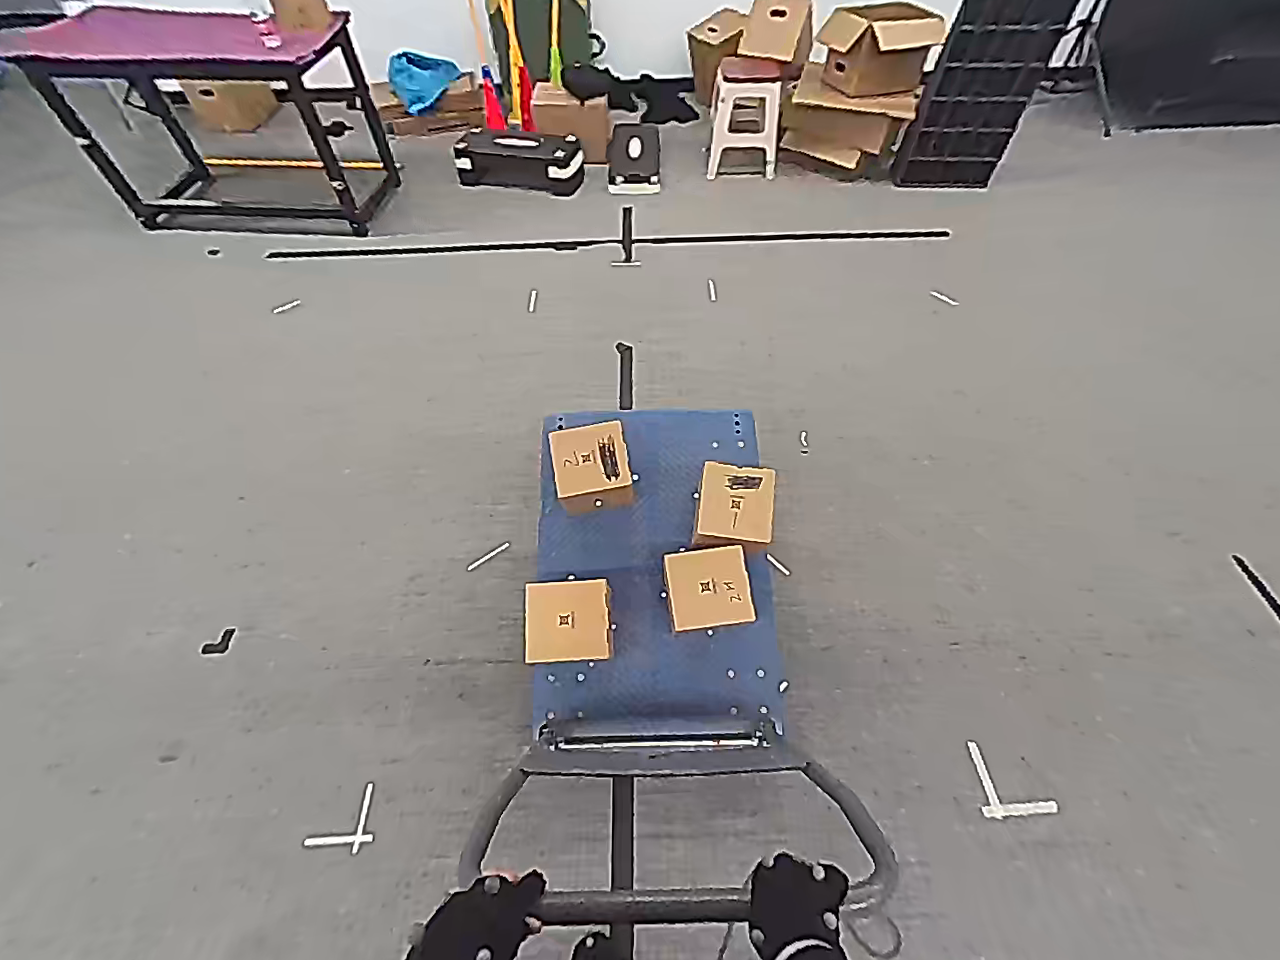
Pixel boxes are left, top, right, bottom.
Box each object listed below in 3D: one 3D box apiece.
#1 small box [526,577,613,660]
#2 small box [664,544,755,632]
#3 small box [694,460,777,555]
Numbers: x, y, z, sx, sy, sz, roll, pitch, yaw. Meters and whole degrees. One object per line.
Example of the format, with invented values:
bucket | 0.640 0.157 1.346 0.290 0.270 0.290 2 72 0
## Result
small box | -0.154 0.317 1.224 0.179 0.176 0.168 -3 72 -2
small box | 0.152 0.253 1.239 0.179 0.176 0.168 -7 72 -1
small box | 0.224 0.071 1.297 0.168 0.176 0.179 8 73 4
